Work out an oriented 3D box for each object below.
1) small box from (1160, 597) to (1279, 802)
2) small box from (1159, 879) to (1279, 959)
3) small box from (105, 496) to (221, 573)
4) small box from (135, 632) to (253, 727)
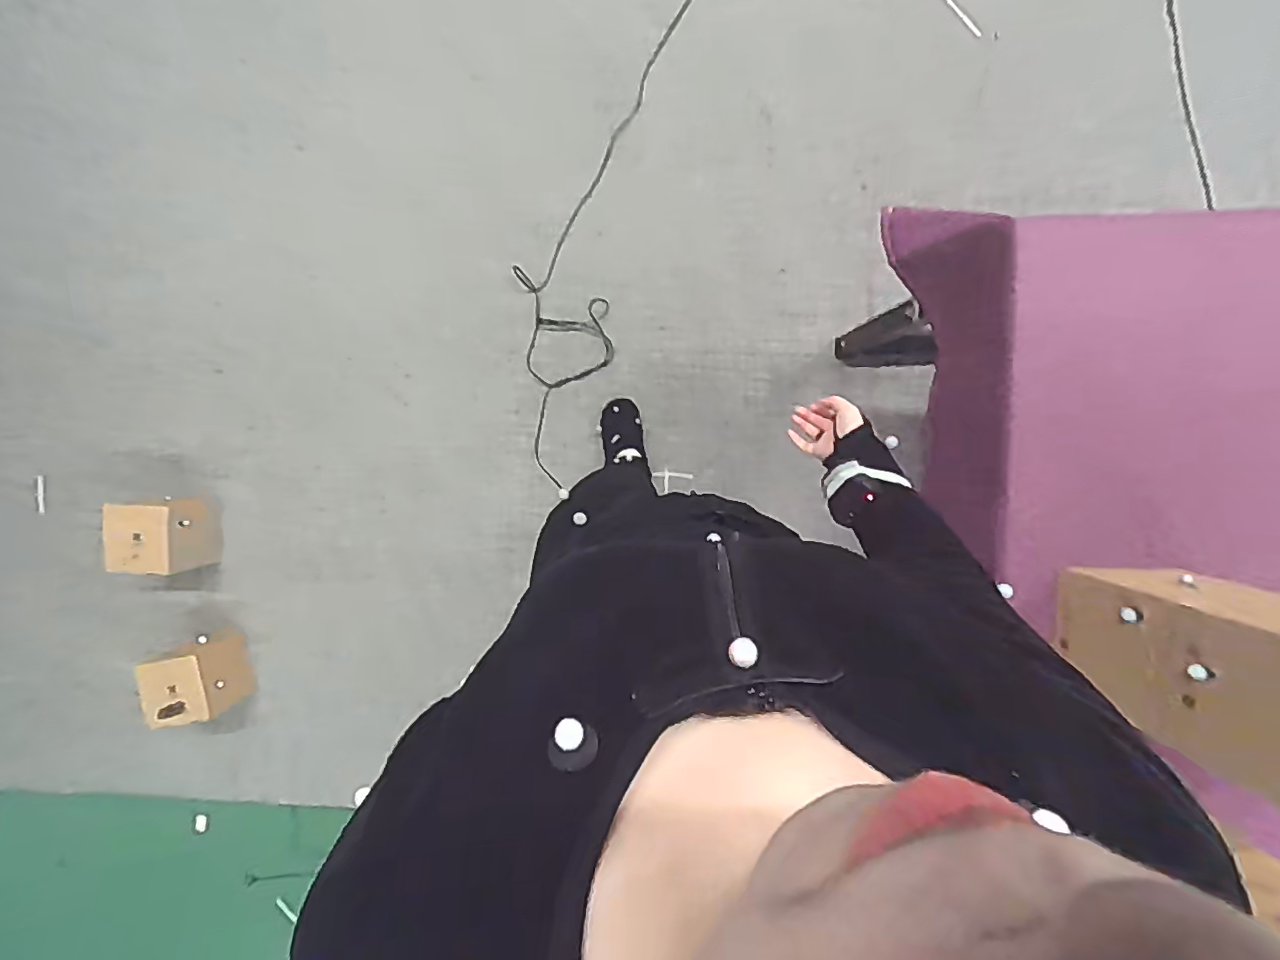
[{"bbox_3d":[0.676,0.217,0.523,0.179,0.176,0.168,2,93,0],"label":"small box"},{"bbox_3d":[0.680,0.542,0.547,0.168,0.176,0.179,-3,93,1],"label":"small box"},{"bbox_3d":[-1.246,0.137,1.423,0.168,0.176,0.179,3,94,1],"label":"small box"},{"bbox_3d":[-1.184,0.529,1.450,0.168,0.176,0.179,-10,93,1],"label":"small box"}]
